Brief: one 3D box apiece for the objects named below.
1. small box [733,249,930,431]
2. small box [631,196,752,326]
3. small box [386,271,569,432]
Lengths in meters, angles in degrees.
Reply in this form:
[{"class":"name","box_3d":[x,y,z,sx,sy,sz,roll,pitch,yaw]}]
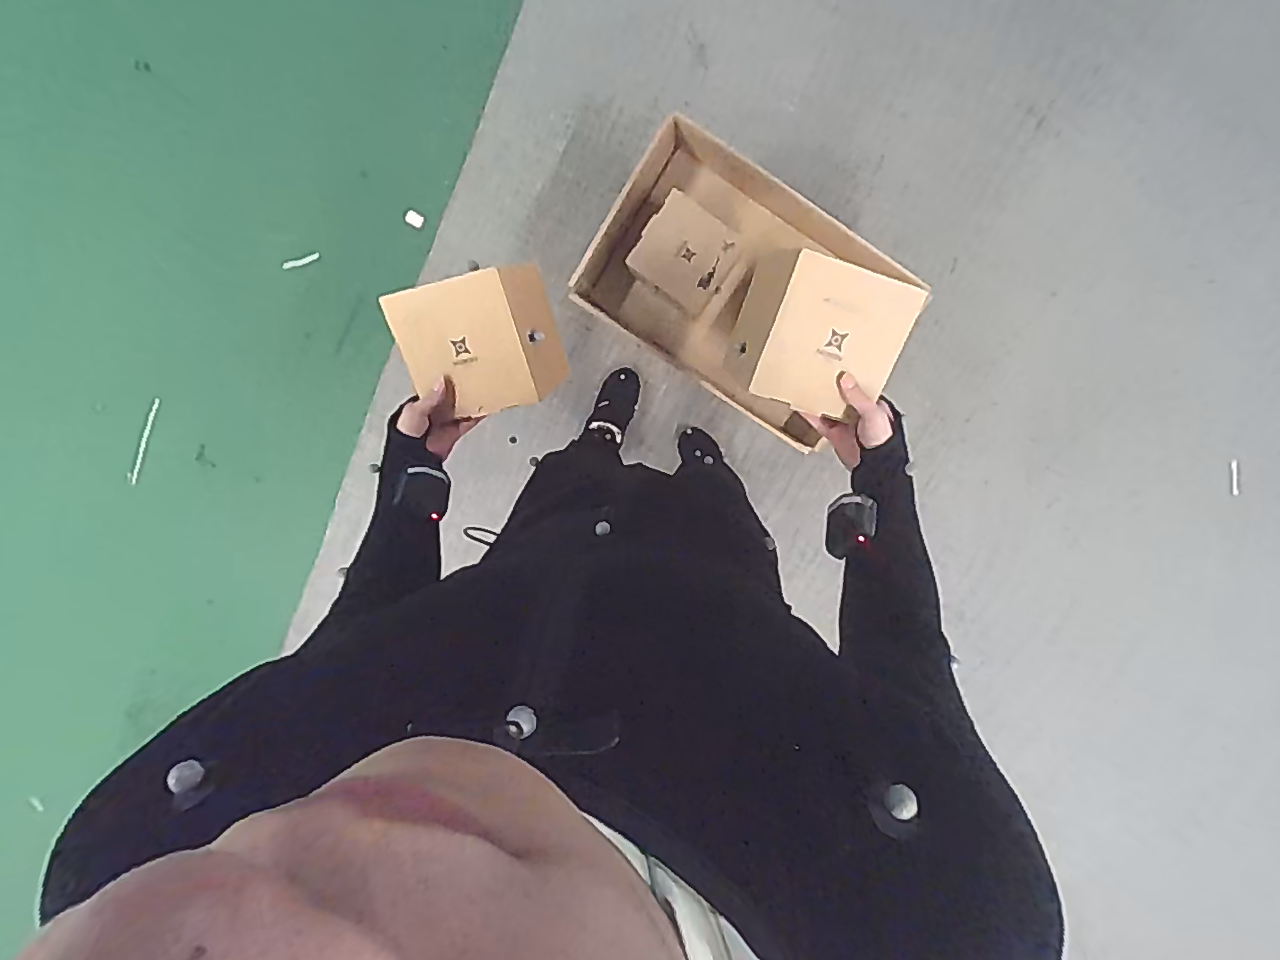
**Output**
[{"class":"small box","box_3d":[0.232,-0.187,0.714,0.168,0.176,0.179,14,109,-8]},{"class":"small box","box_3d":[0.104,-0.436,1.113,0.179,0.176,0.168,37,101,-1]},{"class":"small box","box_3d":[-0.215,-0.189,0.767,0.168,0.176,0.179,-11,113,11]}]
